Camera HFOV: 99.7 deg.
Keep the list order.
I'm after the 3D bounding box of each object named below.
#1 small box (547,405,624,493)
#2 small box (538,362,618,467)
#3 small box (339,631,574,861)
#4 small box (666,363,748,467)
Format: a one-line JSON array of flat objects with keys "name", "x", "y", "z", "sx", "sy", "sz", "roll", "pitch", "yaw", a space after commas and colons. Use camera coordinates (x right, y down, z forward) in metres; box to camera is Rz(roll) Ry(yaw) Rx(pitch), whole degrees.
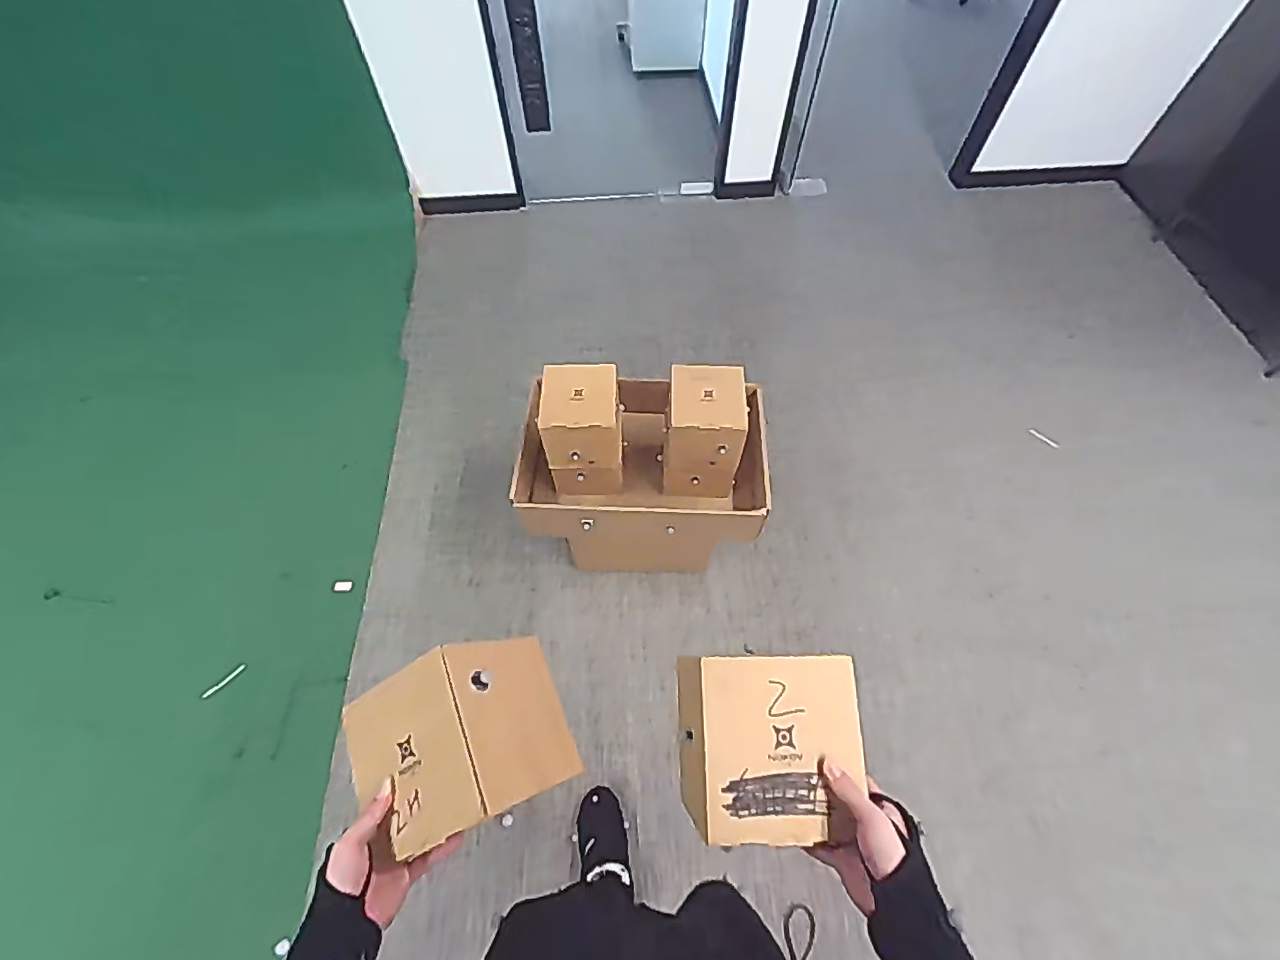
[{"name": "small box", "x": -0.133, "y": -0.077, "z": 1.385, "sx": 0.179, "sy": 0.176, "sz": 0.168, "roll": 0, "pitch": 59, "yaw": 0}, {"name": "small box", "x": -0.136, "y": -0.149, "z": 1.241, "sx": 0.168, "sy": 0.176, "sz": 0.179, "roll": 0, "pitch": 59, "yaw": -1}, {"name": "small box", "x": -0.205, "y": 0.288, "z": 0.621, "sx": 0.168, "sy": 0.176, "sz": 0.179, "roll": -33, "pitch": 65, "yaw": 17}, {"name": "small box", "x": 0.148, "y": -0.144, "z": 1.237, "sx": 0.168, "sy": 0.176, "sz": 0.179, "roll": 3, "pitch": 59, "yaw": 0}]
